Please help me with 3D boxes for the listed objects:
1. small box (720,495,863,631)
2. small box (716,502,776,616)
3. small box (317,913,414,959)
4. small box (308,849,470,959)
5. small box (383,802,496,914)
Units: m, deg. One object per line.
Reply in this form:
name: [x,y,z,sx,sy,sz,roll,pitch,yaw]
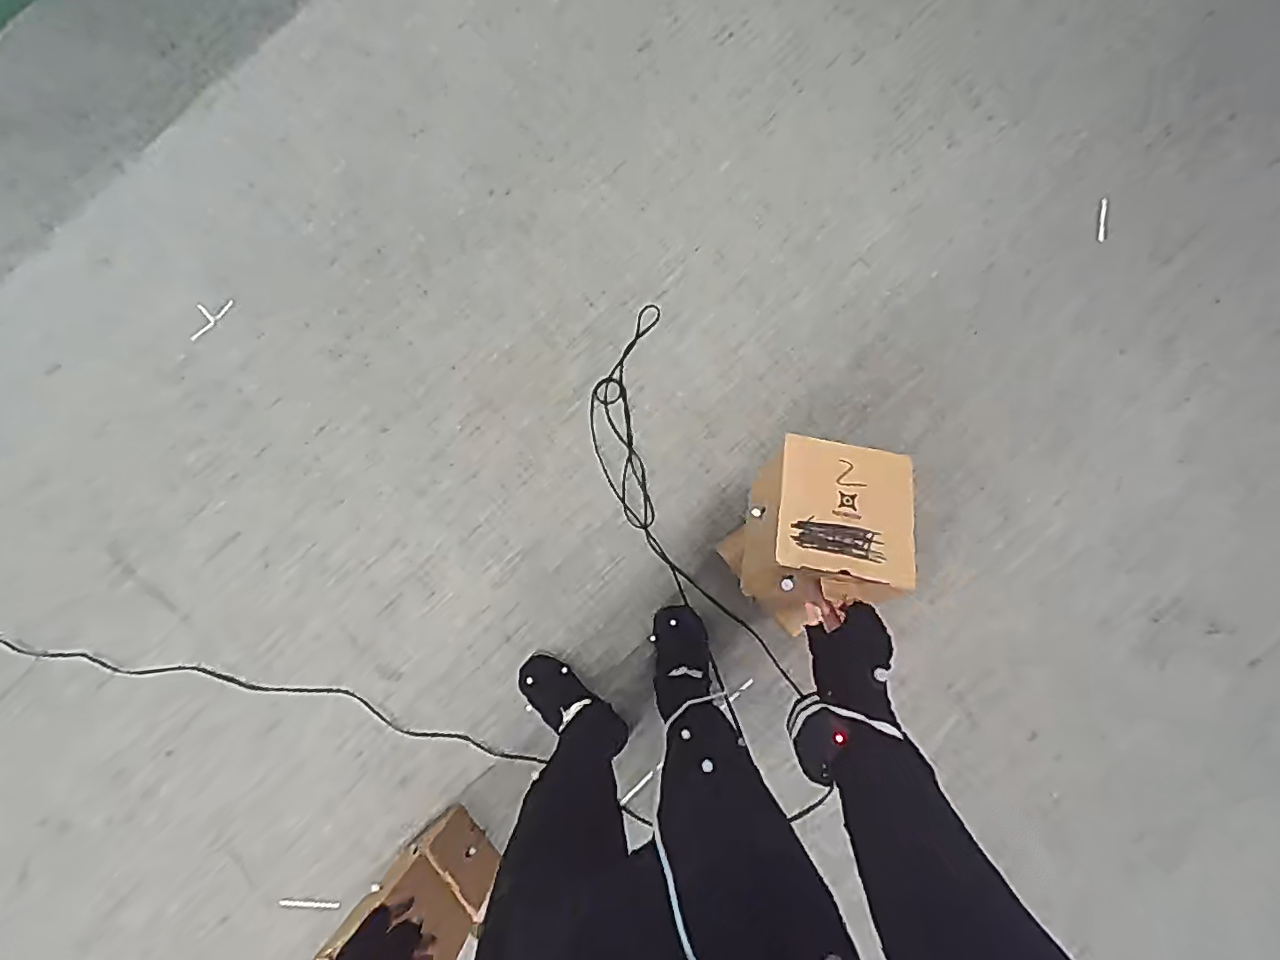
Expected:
small box: [0.267,0.146,1.000,0.168,0.176,0.179,-39,86,0]
small box: [0.279,0.157,1.146,0.168,0.176,0.179,-36,86,0]
small box: [-0.449,0.837,0.830,0.168,0.176,0.179,-40,85,1]
small box: [-0.446,0.838,0.993,0.168,0.176,0.179,-40,85,1]
small box: [-0.431,0.842,1.157,0.179,0.176,0.168,-41,85,0]
